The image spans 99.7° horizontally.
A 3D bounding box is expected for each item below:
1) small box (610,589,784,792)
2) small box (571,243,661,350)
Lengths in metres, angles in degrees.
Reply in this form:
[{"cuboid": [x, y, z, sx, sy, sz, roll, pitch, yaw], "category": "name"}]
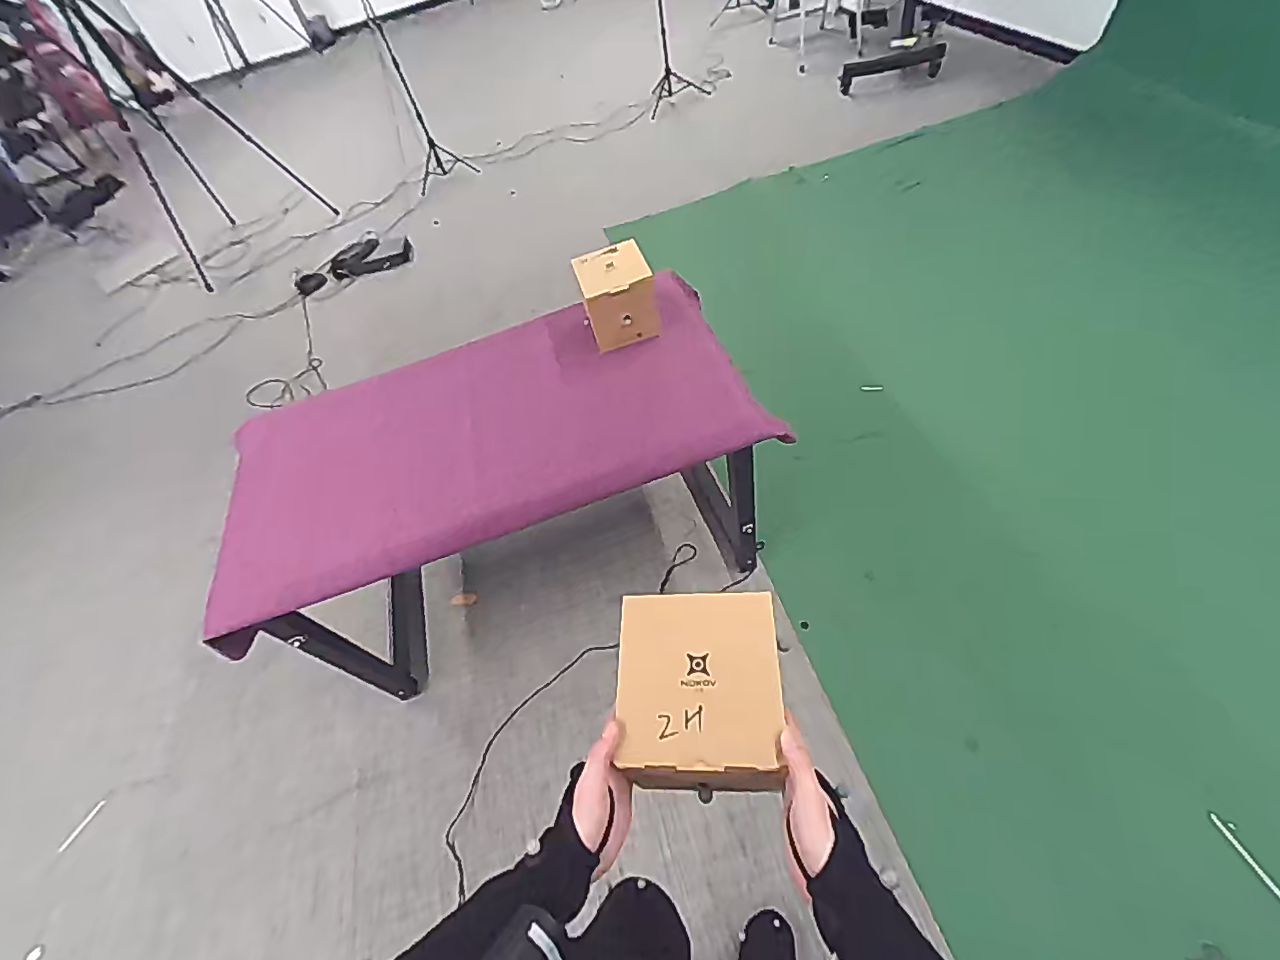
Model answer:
[{"cuboid": [0.067, 0.240, 0.615, 0.168, 0.176, 0.179, -3, 53, 9], "category": "small box"}, {"cuboid": [-0.056, -0.446, 1.341, 0.168, 0.176, 0.179, -18, 55, -1], "category": "small box"}]
